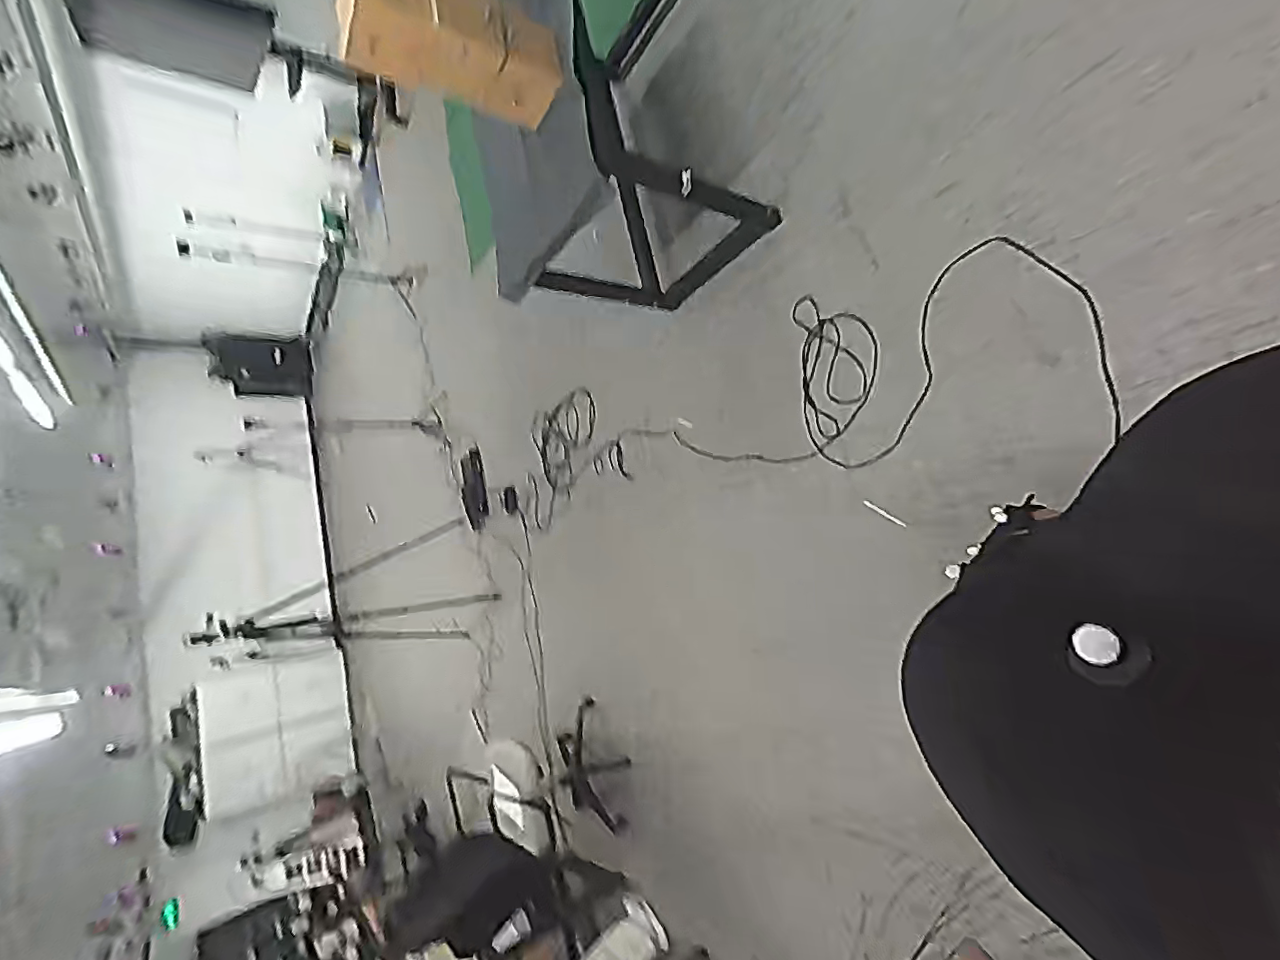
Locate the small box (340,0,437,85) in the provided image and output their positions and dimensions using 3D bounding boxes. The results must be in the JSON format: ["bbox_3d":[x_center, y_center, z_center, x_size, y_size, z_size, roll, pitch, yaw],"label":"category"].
[{"bbox_3d":[-0.587,-1.086,1.267,0.179,0.176,0.168,-25,75,51],"label":"small box"}]

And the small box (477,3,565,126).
[{"bbox_3d":[-0.322,-1.107,1.460,0.179,0.176,0.168,-25,74,51],"label":"small box"}]
